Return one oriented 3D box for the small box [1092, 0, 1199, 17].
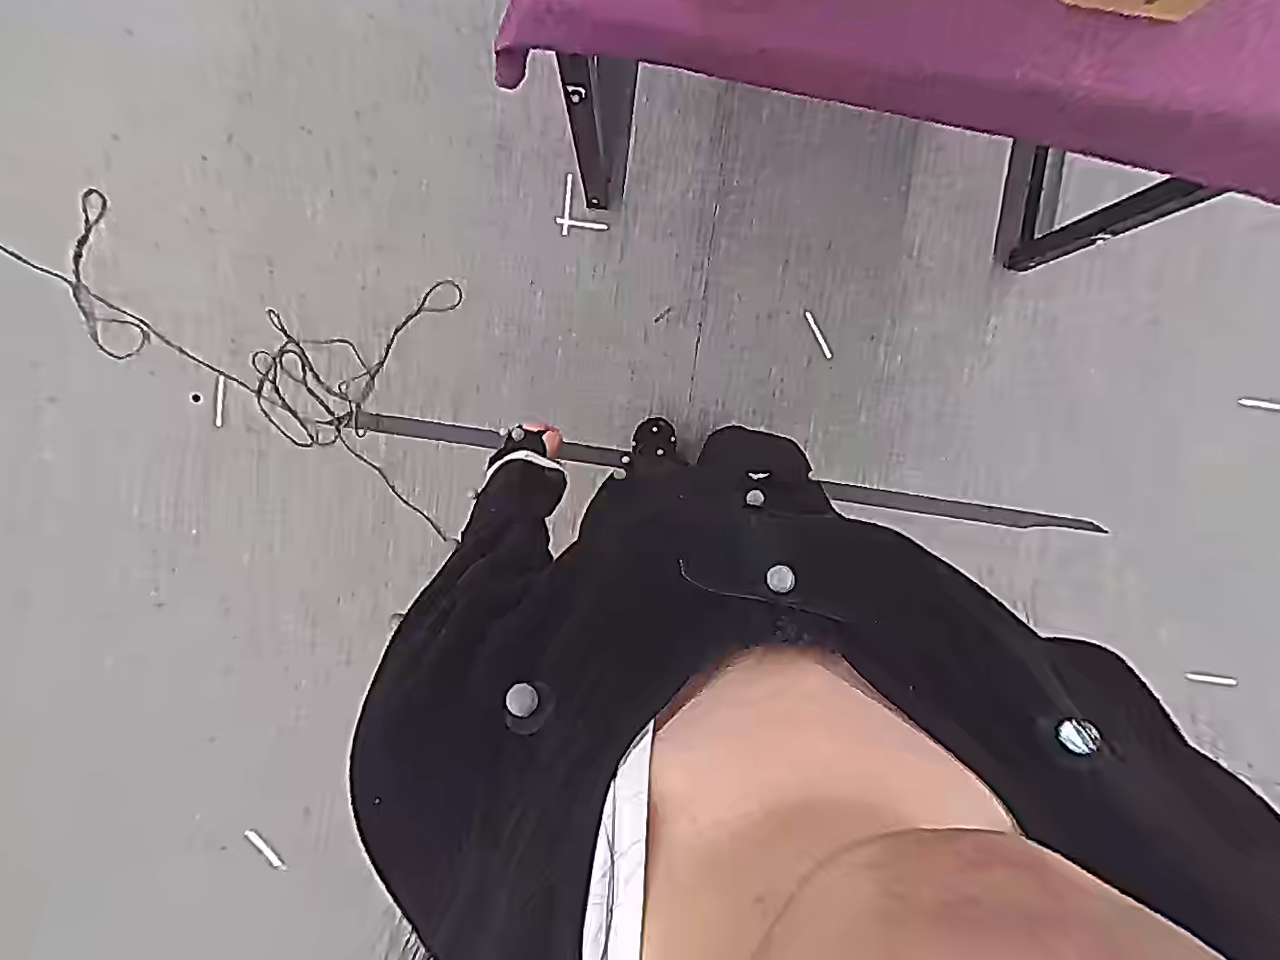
[{"bbox_3d":[0.643,-0.691,0.623,0.168,0.176,0.179,8,95,-1],"label":"small box"}]
